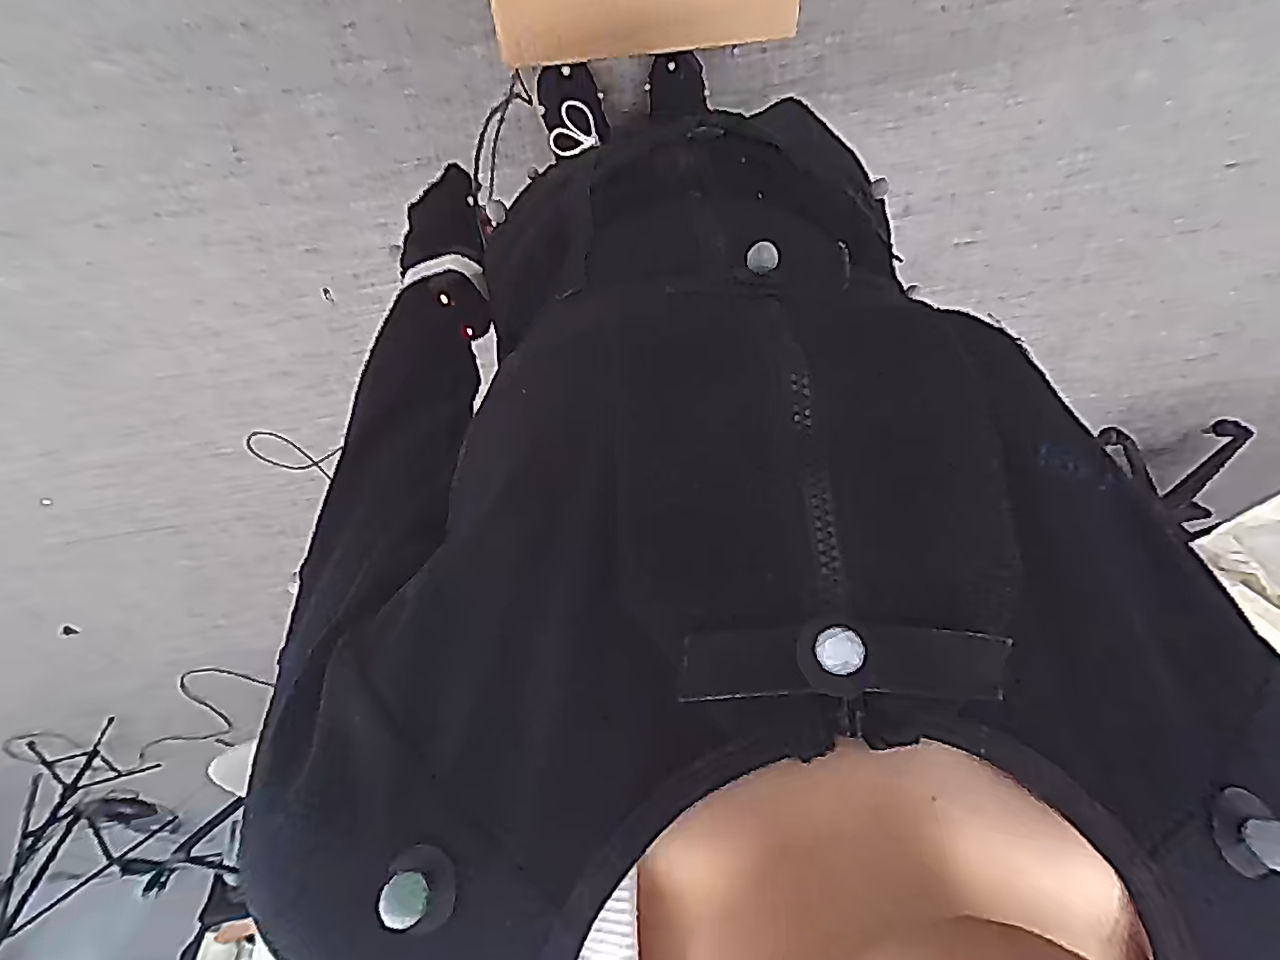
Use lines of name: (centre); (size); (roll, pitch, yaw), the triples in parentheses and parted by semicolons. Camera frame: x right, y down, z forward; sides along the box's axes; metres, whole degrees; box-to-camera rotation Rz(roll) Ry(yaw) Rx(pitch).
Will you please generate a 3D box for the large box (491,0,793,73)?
large box: (-0.013, -0.799, 0.755); (0.408, 0.320, 0.320); (-7, 132, -1)
